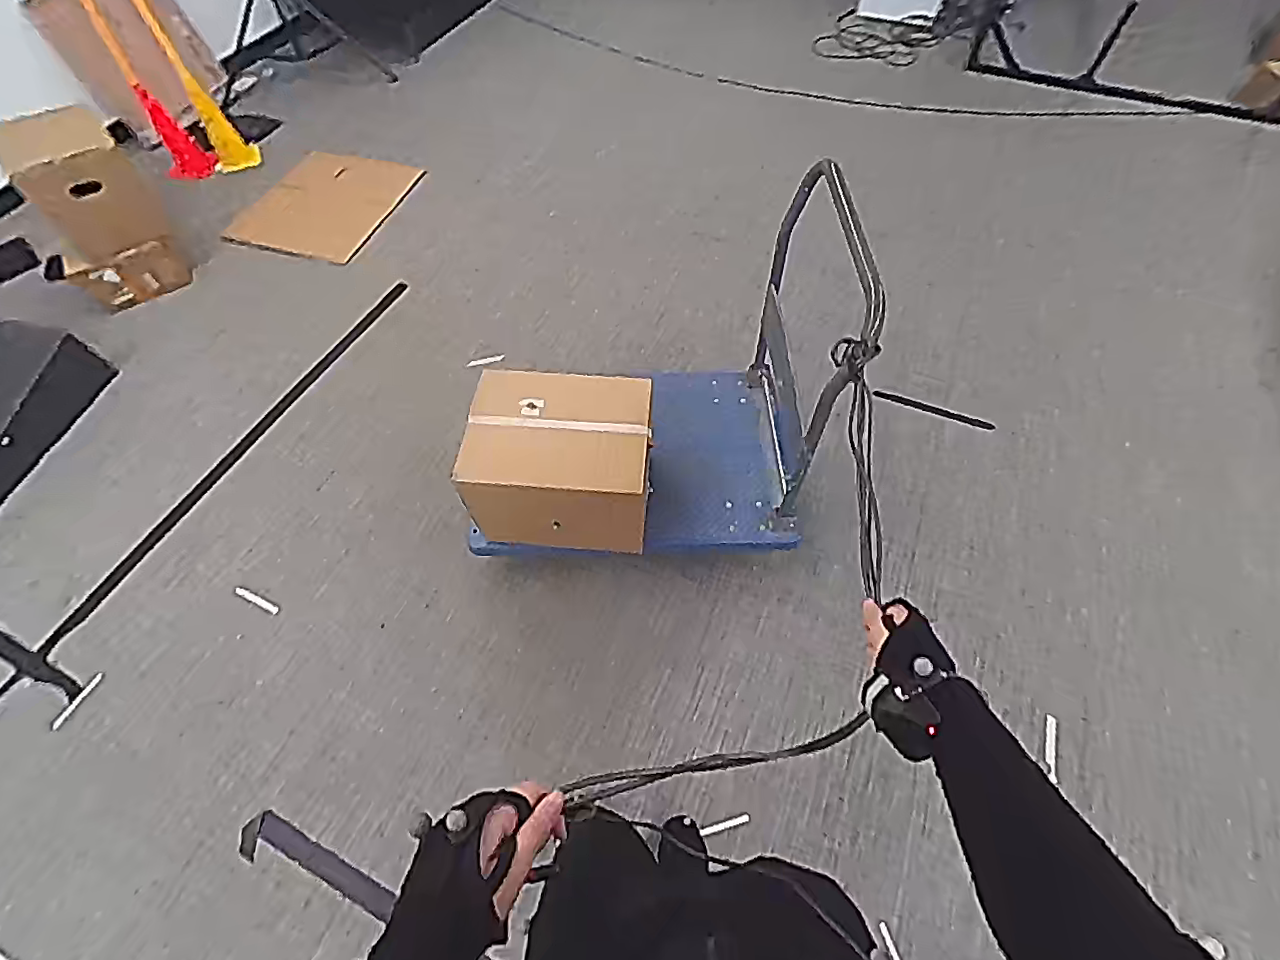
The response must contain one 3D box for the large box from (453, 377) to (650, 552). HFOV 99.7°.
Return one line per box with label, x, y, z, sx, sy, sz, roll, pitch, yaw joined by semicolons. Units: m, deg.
large box;-0.179;-0.029;1.313;0.408;0.320;0.320;3;58;3
